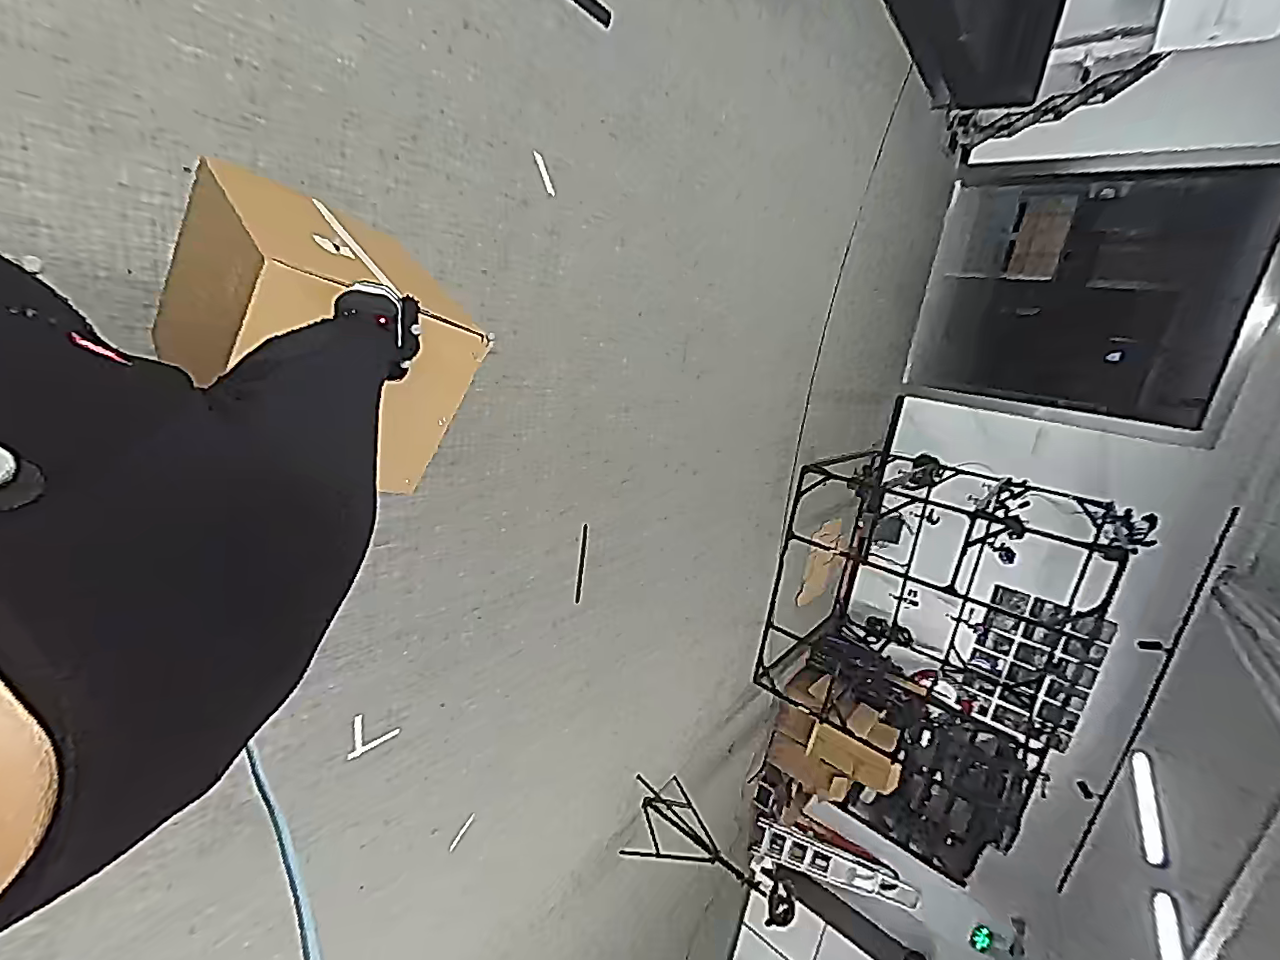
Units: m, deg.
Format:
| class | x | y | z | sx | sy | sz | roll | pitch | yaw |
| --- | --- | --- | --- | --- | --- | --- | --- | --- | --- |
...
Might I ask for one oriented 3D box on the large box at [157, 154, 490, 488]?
| class | x | y | z | sx | sy | sz | roll | pitch | yaw |
| --- | --- | --- | --- | --- | --- | --- | --- | --- | --- |
| large box | -0.528 | -0.239 | 0.886 | 0.320 | 0.408 | 0.320 | 8 | 123 | -53 |
